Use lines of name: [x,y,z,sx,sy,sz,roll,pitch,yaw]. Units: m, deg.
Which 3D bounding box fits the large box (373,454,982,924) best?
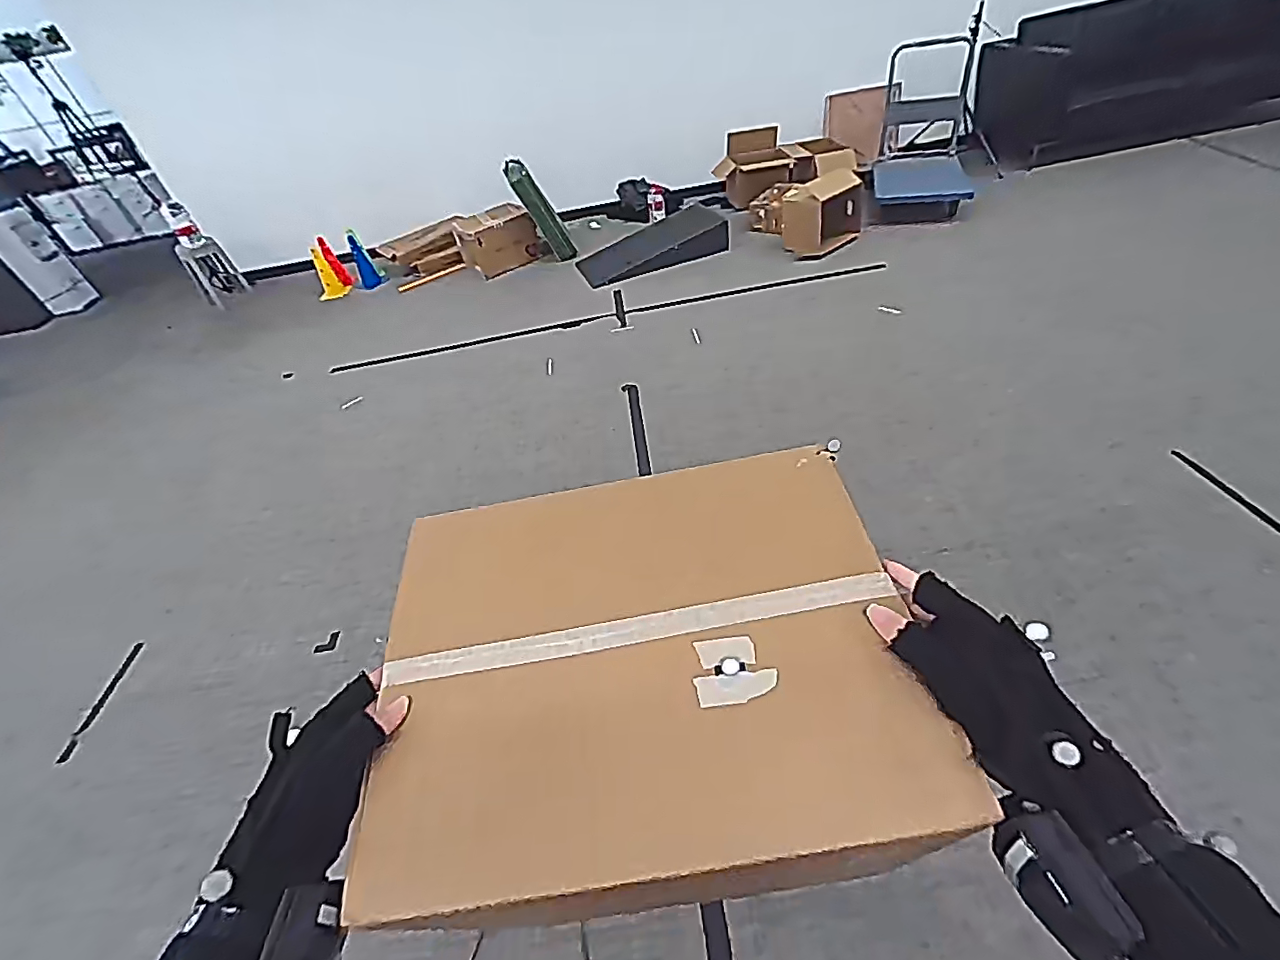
large box: [0.022,0.218,0.549,0.408,0.320,0.320,-10,50,1]
